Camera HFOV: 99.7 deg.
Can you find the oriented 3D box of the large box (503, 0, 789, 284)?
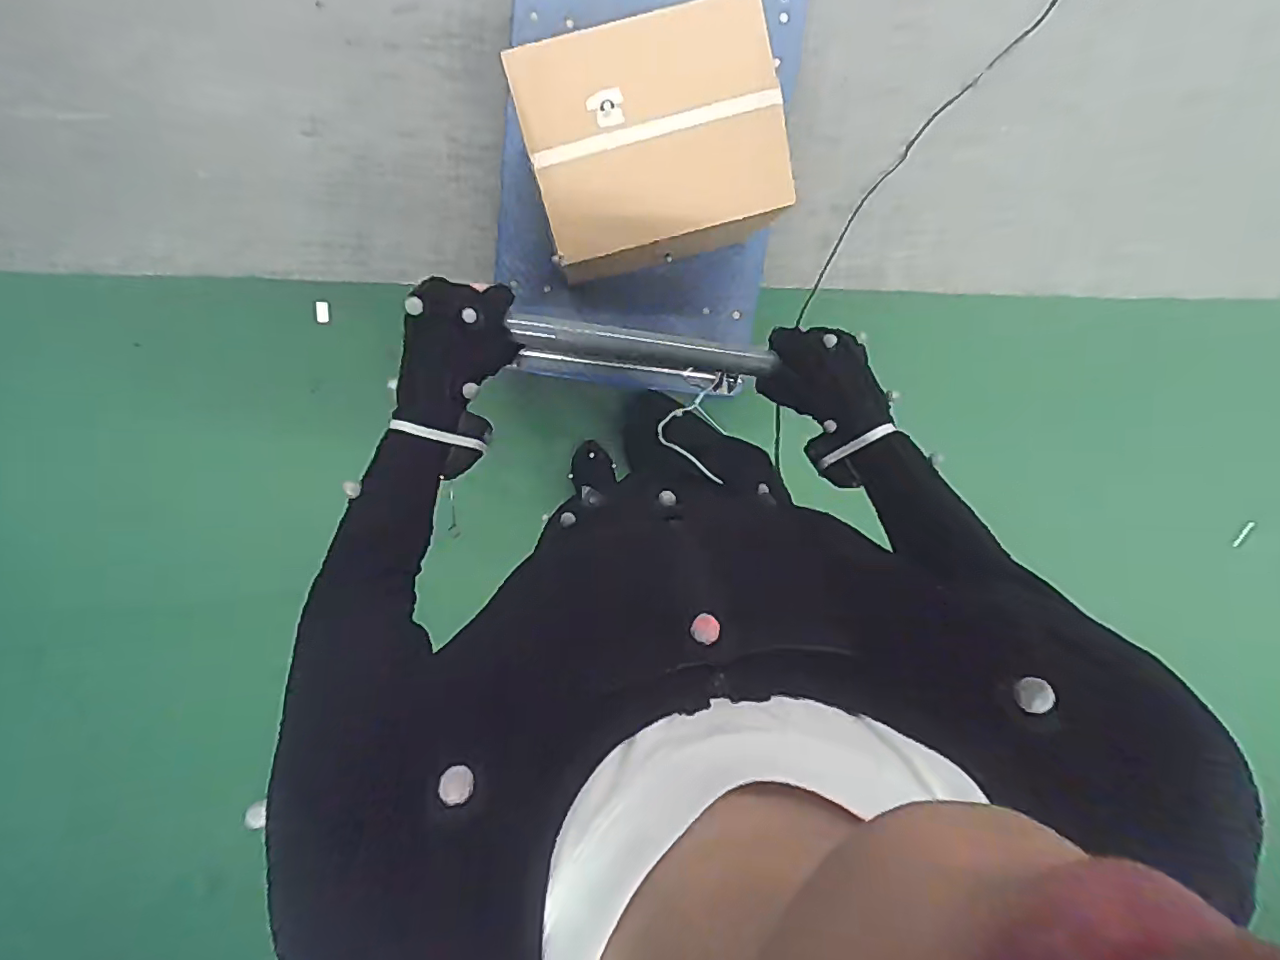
[{"bbox_3d":[0.011,-0.583,1.001,0.408,0.320,0.320,-15,103,0],"label":"large box"}]
